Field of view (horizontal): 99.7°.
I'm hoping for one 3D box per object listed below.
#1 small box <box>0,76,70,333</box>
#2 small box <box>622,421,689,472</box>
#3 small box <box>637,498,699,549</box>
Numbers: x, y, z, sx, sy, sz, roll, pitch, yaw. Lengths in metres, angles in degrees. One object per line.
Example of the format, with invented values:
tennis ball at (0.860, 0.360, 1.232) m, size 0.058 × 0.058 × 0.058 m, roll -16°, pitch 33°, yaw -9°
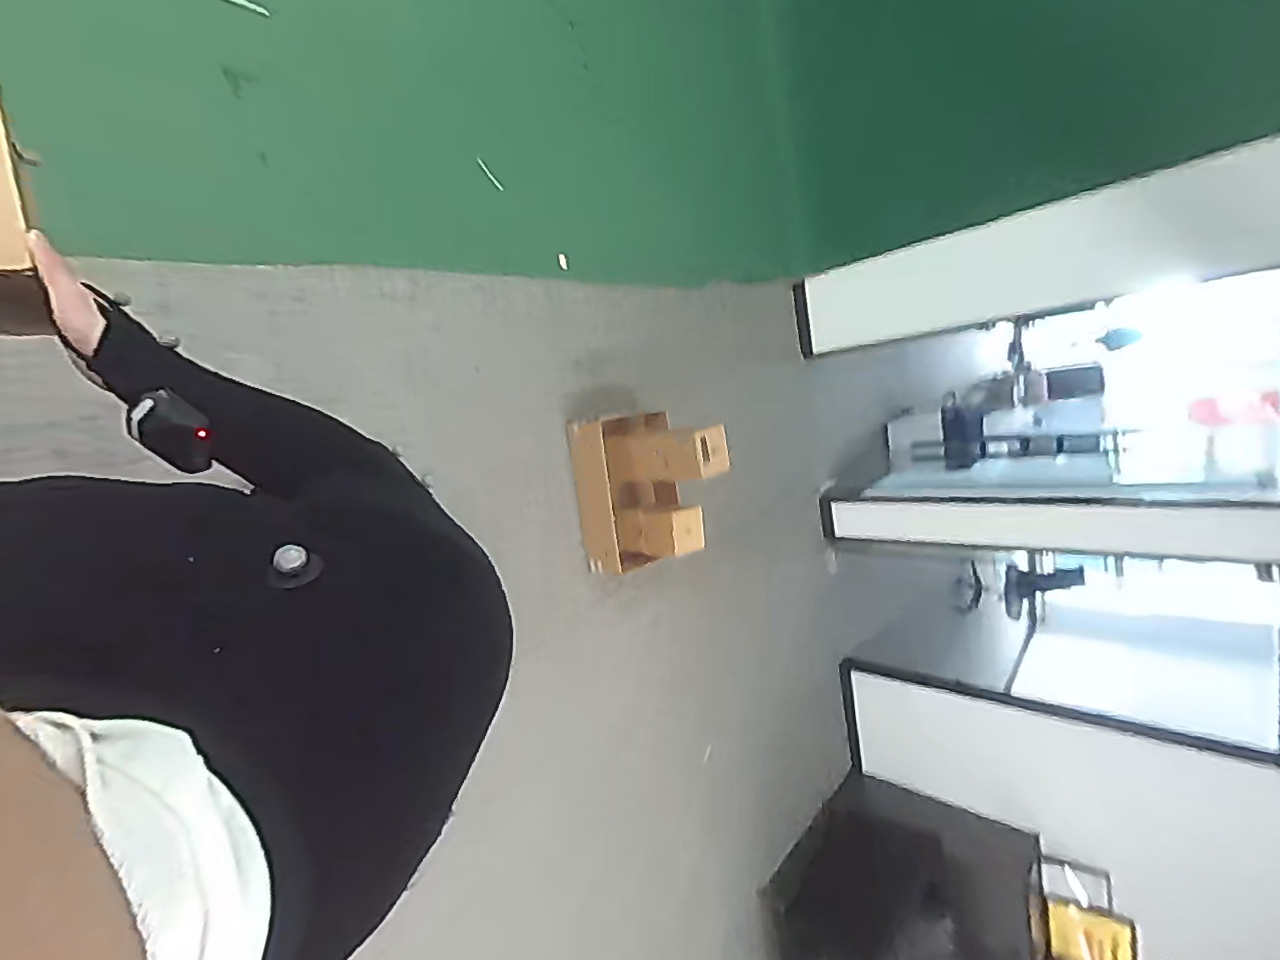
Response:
small box at (-0.640, -0.245, 0.476) m, size 0.168 × 0.176 × 0.179 m, roll -11°, pitch 91°, yaw -42°
small box at (0.058, -0.127, 2.056) m, size 0.179 × 0.176 × 0.168 m, roll -20°, pitch 104°, yaw -45°
small box at (0.108, 0.165, 2.107) m, size 0.179 × 0.176 × 0.168 m, roll -11°, pitch 98°, yaw -44°
